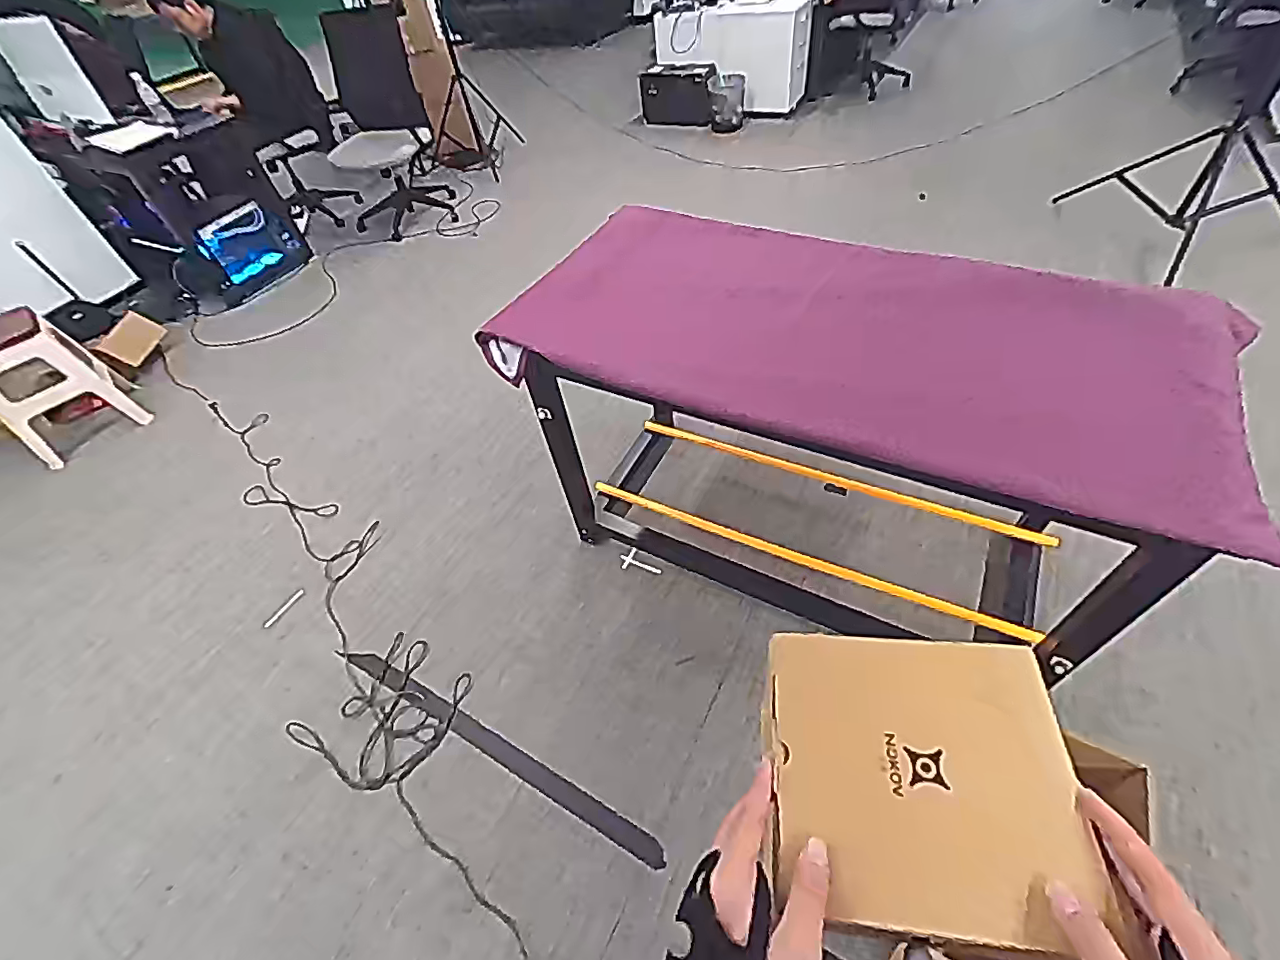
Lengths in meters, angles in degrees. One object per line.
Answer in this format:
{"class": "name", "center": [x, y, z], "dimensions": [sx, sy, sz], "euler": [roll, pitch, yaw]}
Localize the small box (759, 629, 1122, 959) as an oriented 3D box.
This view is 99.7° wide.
{"class": "small box", "center": [0.180, 0.225, 0.397], "dimensions": [0.179, 0.176, 0.168], "euler": [0, 51, 11]}
